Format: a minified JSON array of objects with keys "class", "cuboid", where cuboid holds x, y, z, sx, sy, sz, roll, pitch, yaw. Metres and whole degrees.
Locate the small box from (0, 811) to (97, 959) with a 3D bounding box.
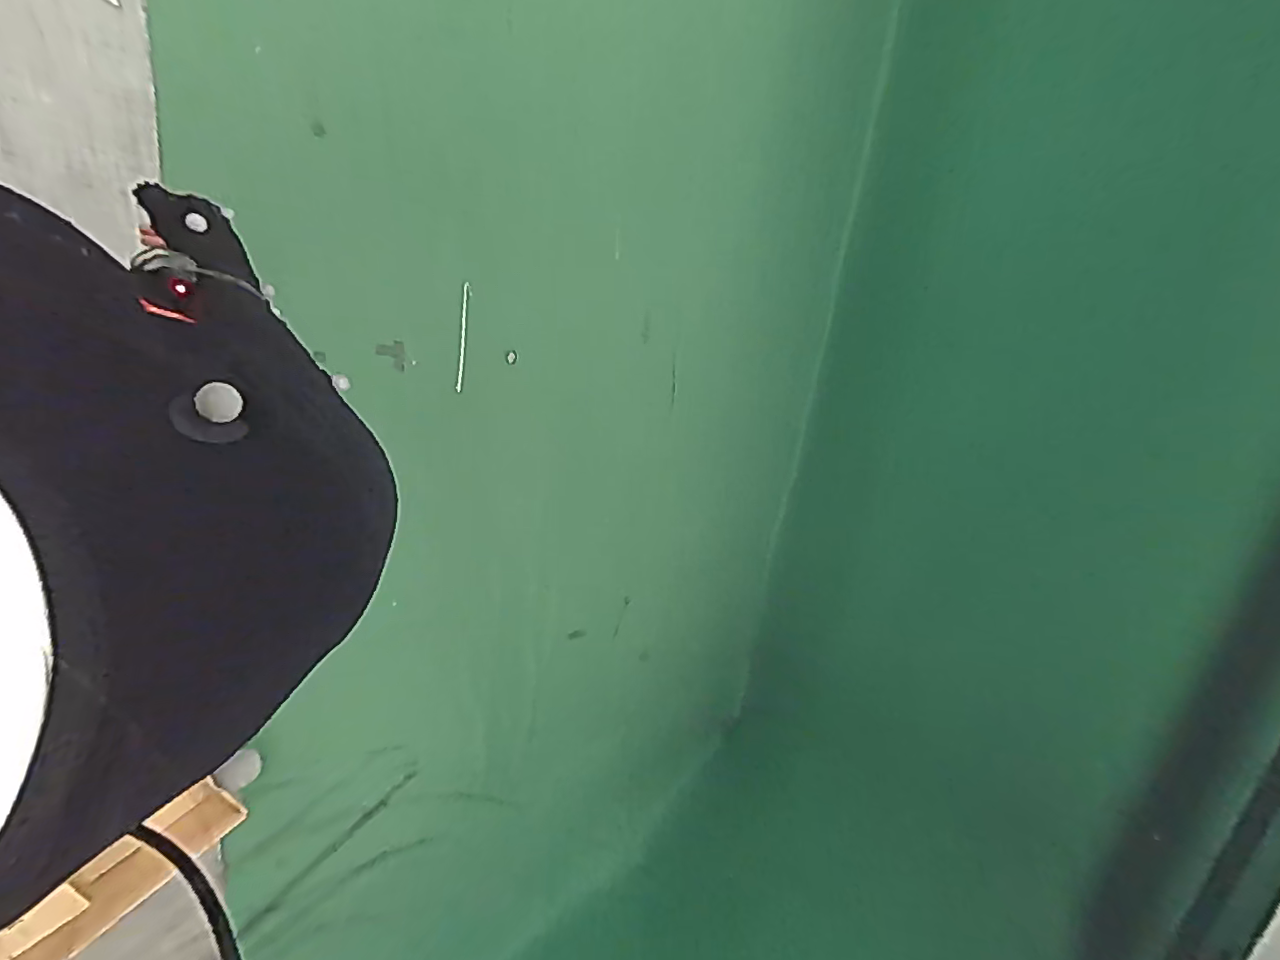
[{"class":"small box","cuboid":[-1.241,0.805,1.074,0.168,0.176,0.179,-30,129,-40]}]
